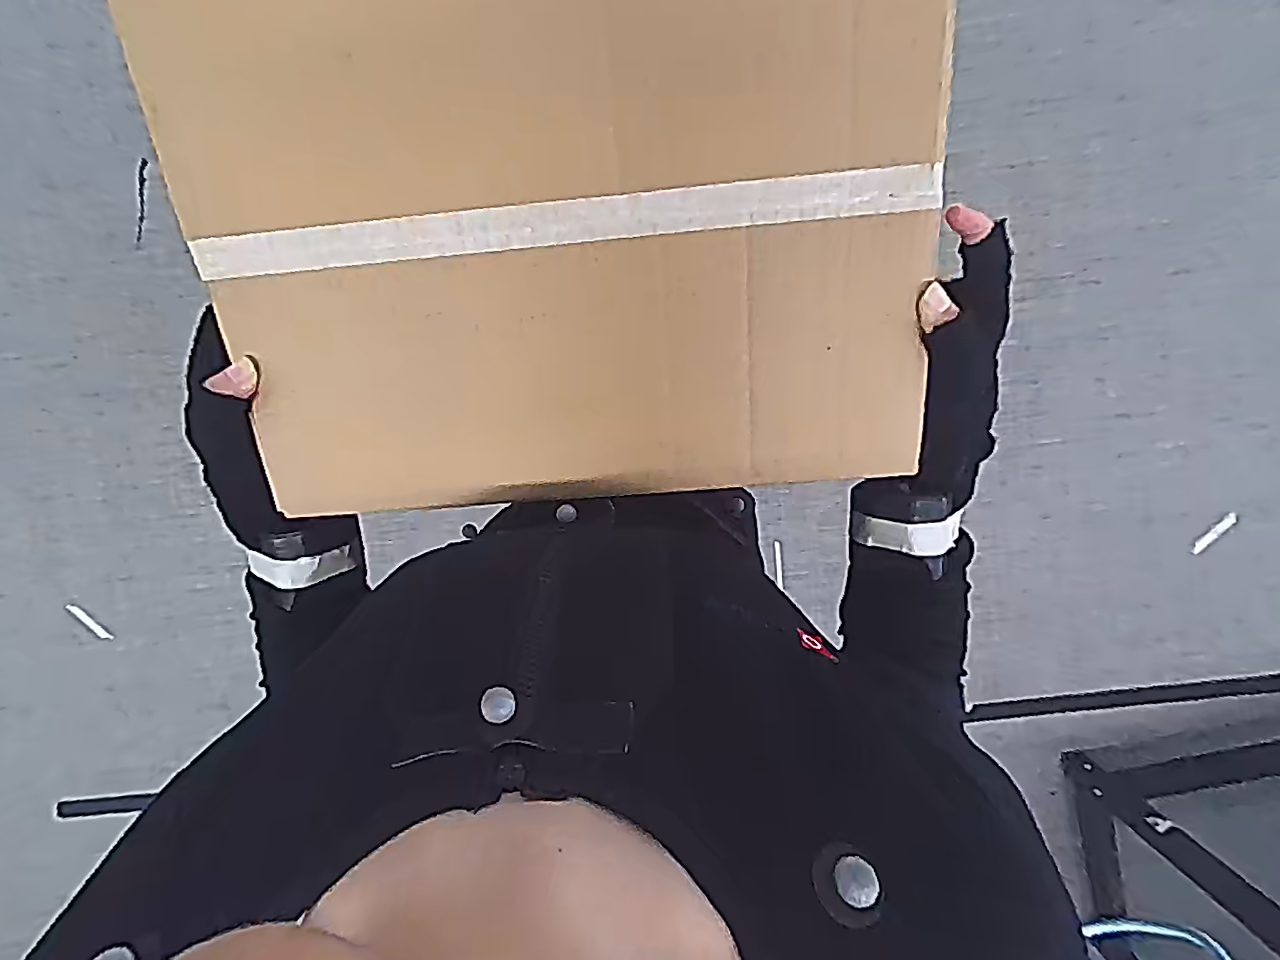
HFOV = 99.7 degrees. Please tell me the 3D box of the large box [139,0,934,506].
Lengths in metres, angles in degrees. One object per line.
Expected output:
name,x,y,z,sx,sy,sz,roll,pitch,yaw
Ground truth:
large box,-0.043,-0.190,0.443,0.408,0.320,0.320,-4,110,3
